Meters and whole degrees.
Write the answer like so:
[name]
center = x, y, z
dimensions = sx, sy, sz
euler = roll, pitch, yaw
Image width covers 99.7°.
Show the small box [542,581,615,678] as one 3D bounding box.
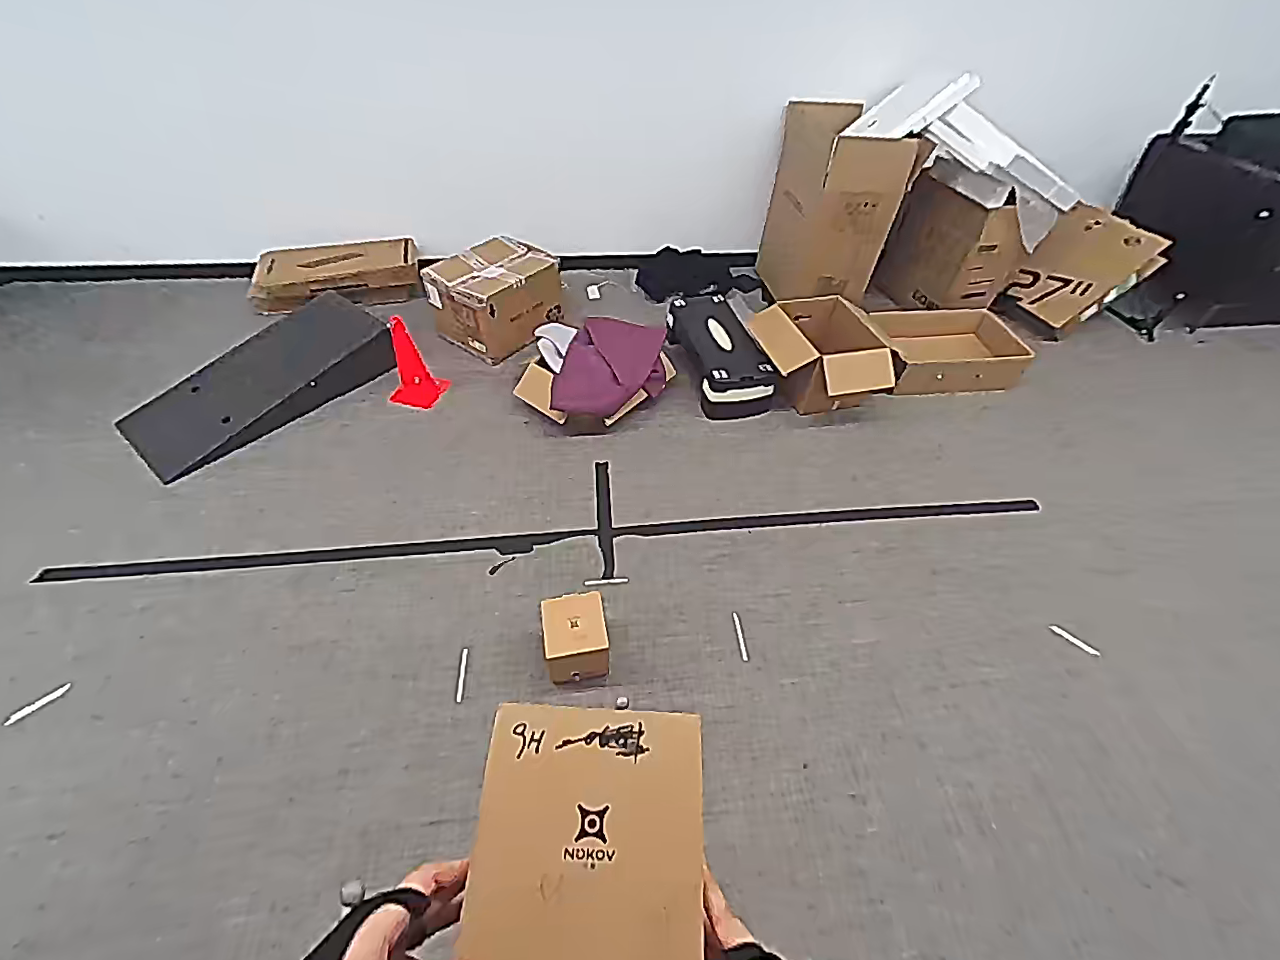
[small box]
center = -0.162, 0.394, 1.420
dimensions = 0.168, 0.176, 0.179
euler = -9, 50, -9
